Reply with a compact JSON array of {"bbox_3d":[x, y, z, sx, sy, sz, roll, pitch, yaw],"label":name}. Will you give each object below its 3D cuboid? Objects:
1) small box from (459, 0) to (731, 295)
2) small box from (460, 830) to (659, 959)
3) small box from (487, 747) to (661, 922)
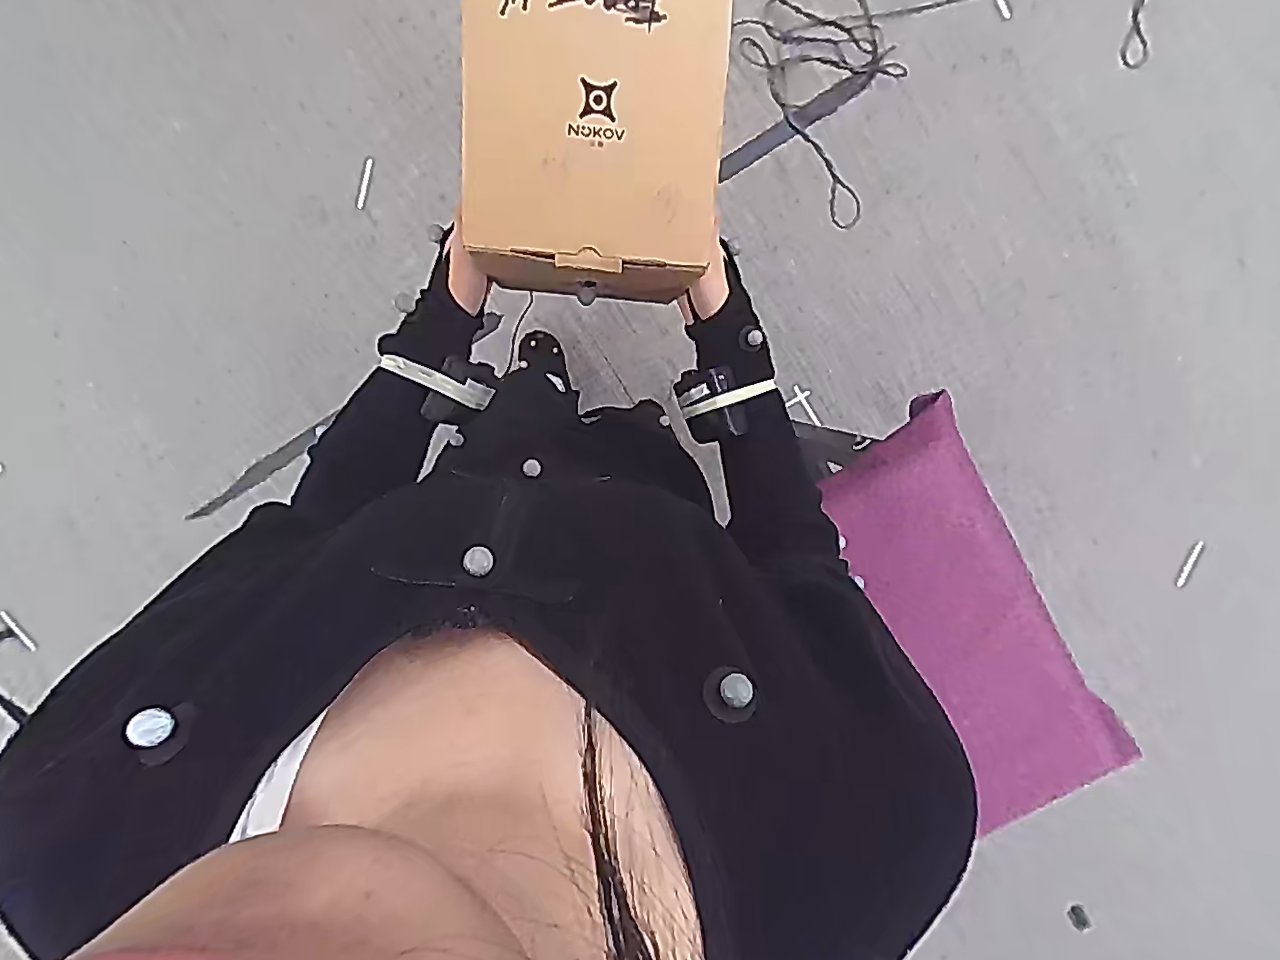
[{"bbox_3d":[-0.038,-0.246,0.416,0.168,0.176,0.179,2,101,-7],"label":"small box"},{"bbox_3d":[-0.083,0.547,0.602,0.168,0.176,0.179,-29,99,4],"label":"small box"},{"bbox_3d":[-0.085,0.514,0.764,0.168,0.176,0.179,-29,100,4],"label":"small box"}]
